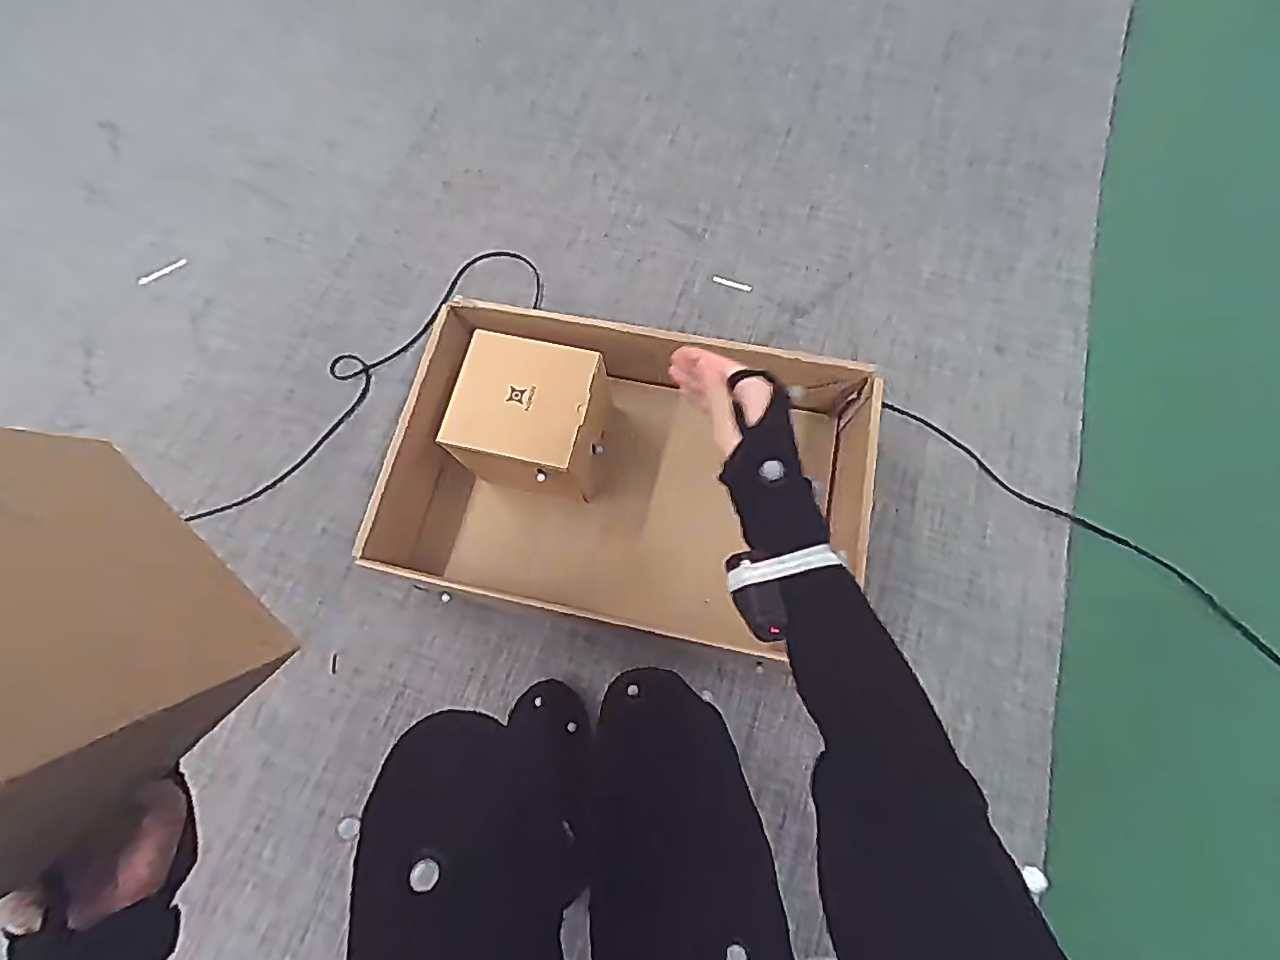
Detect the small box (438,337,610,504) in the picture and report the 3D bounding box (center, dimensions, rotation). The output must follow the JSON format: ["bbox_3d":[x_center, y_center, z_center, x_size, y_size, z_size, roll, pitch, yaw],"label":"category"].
[{"bbox_3d":[-0.150,-0.075,0.767,0.179,0.176,0.168,12,74,5],"label":"small box"}]
